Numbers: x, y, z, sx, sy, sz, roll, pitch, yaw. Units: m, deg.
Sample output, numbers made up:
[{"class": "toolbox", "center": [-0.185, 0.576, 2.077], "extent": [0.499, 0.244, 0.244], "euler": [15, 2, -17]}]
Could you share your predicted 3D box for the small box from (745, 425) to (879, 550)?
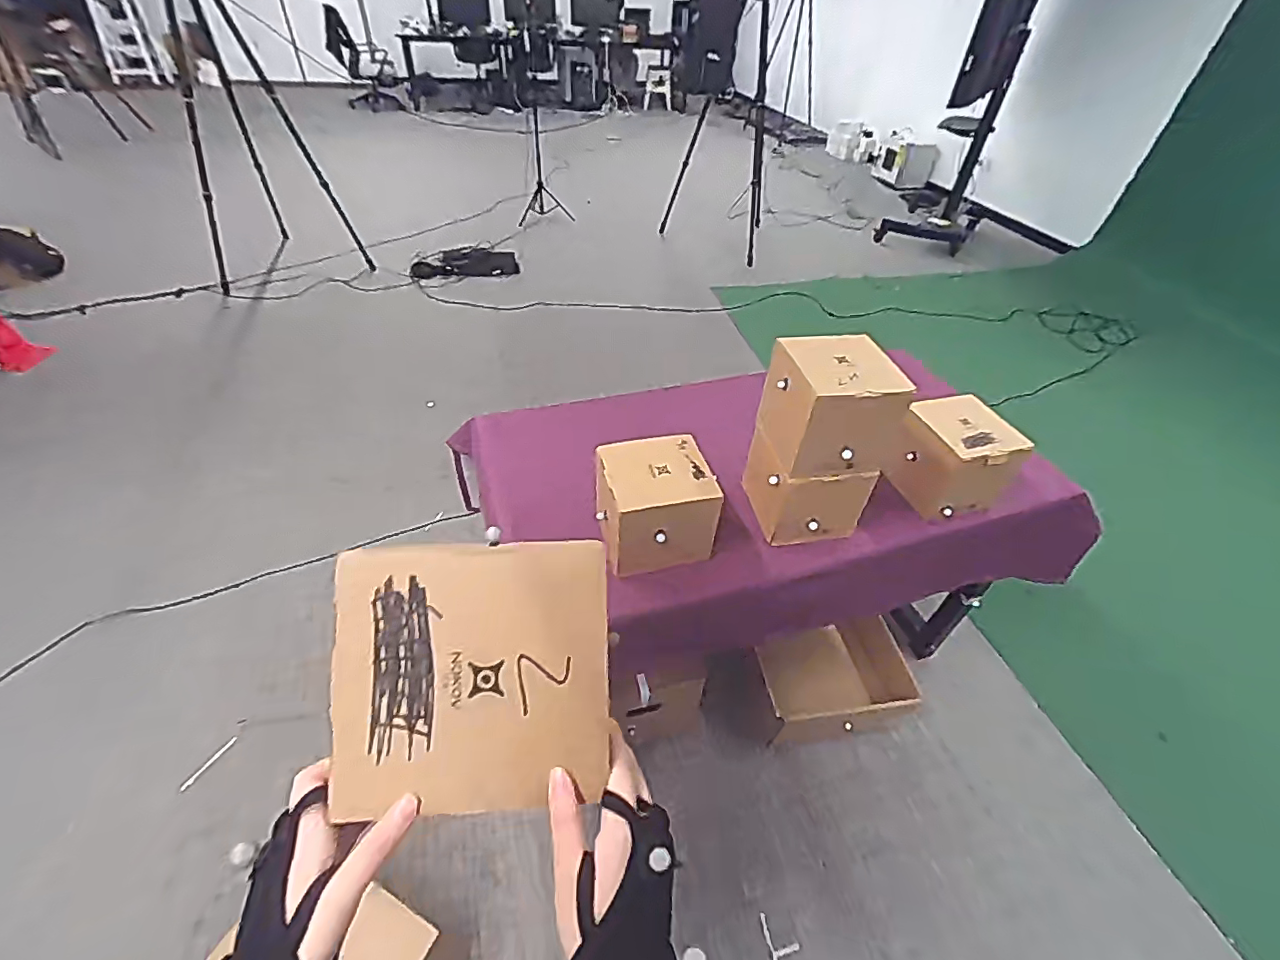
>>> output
[{"class": "small box", "center": [0.311, 0.008, 1.026], "extent": [0.168, 0.176, 0.179], "euler": [-5, 45, -9]}]

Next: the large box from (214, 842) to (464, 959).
[{"class": "large box", "center": [-0.571, 0.949, 0.928], "extent": [0.320, 0.320, 0.408], "euler": [21, 45, 16]}]

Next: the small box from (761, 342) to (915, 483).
[{"class": "small box", "center": [0.319, -0.116, 0.918], "extent": [0.168, 0.176, 0.179], "euler": [-5, 44, -8]}]

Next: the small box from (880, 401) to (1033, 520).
[{"class": "small box", "center": [0.623, -0.034, 1.090], "extent": [0.168, 0.176, 0.179], "euler": [-9, 44, -13]}]

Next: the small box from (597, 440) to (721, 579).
[{"class": "small box", "center": [0.026, 0.055, 0.952], "extent": [0.179, 0.176, 0.168], "euler": [-9, 45, -13]}]
